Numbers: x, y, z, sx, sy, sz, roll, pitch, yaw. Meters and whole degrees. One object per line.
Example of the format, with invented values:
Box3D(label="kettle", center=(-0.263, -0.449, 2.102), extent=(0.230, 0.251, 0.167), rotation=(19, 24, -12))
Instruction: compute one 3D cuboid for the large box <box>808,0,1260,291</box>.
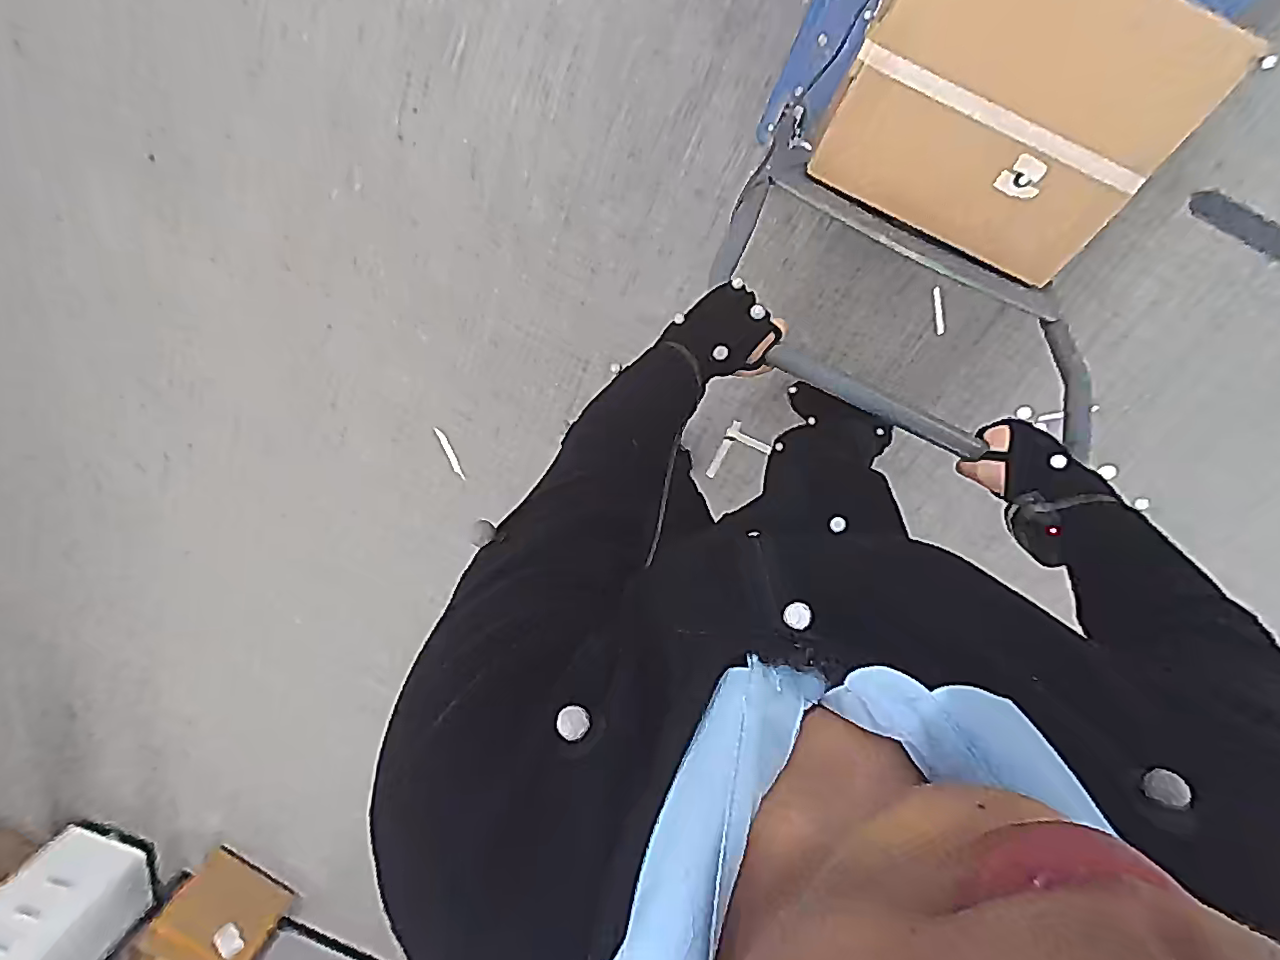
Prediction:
Box3D(label="large box", center=(0.515, -0.560, 0.815), extent=(0.408, 0.320, 0.320), rotation=(25, 136, -3))
